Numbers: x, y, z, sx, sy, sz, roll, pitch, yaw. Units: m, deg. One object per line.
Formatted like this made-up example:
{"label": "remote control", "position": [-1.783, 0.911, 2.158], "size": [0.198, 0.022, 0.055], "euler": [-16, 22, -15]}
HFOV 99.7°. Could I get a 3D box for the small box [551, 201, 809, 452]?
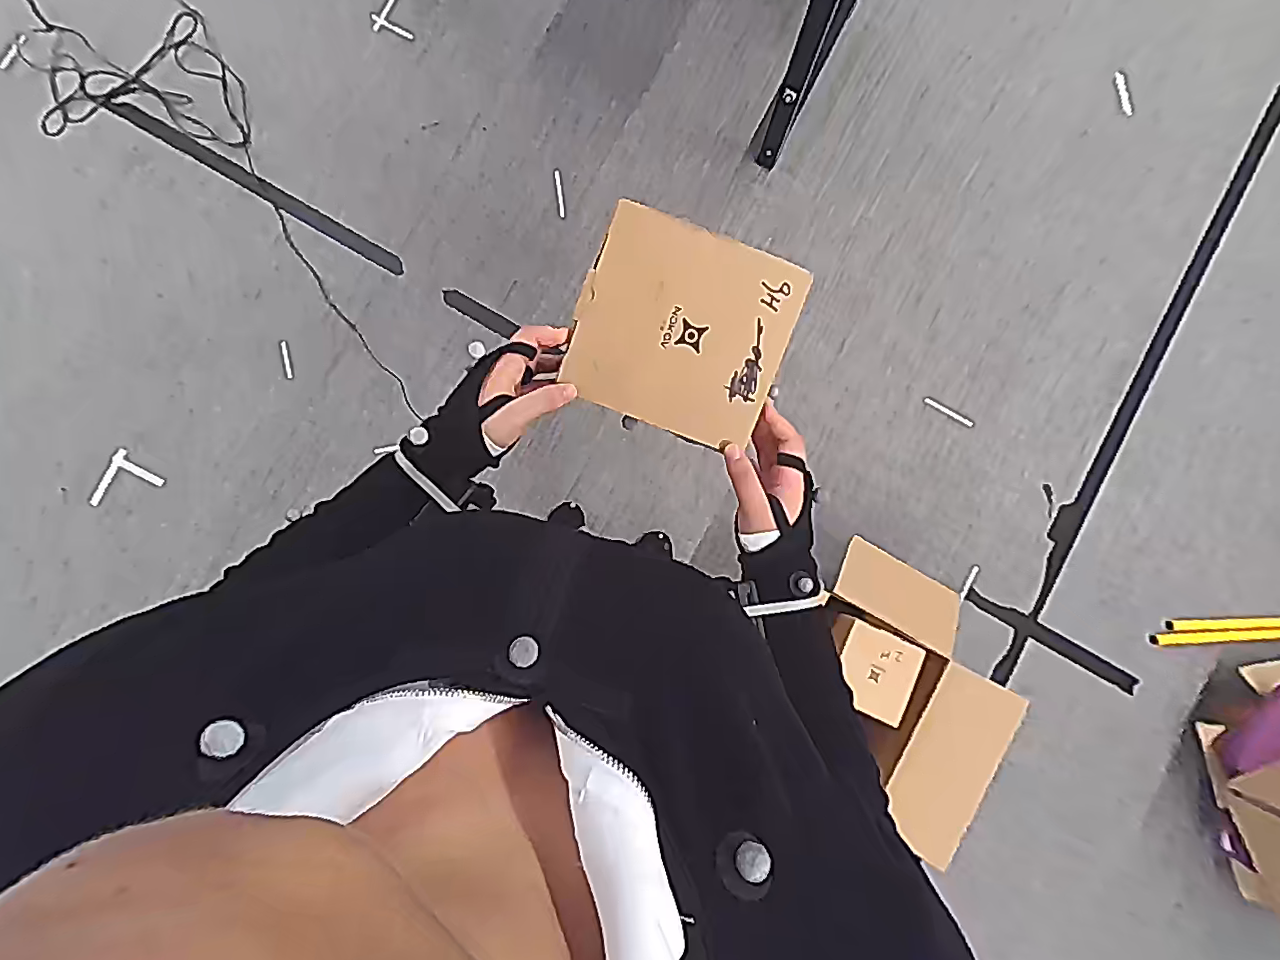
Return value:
{"label": "small box", "position": [0.033, -0.135, 0.534], "size": [0.179, 0.176, 0.168], "euler": [21, 96, -2]}
